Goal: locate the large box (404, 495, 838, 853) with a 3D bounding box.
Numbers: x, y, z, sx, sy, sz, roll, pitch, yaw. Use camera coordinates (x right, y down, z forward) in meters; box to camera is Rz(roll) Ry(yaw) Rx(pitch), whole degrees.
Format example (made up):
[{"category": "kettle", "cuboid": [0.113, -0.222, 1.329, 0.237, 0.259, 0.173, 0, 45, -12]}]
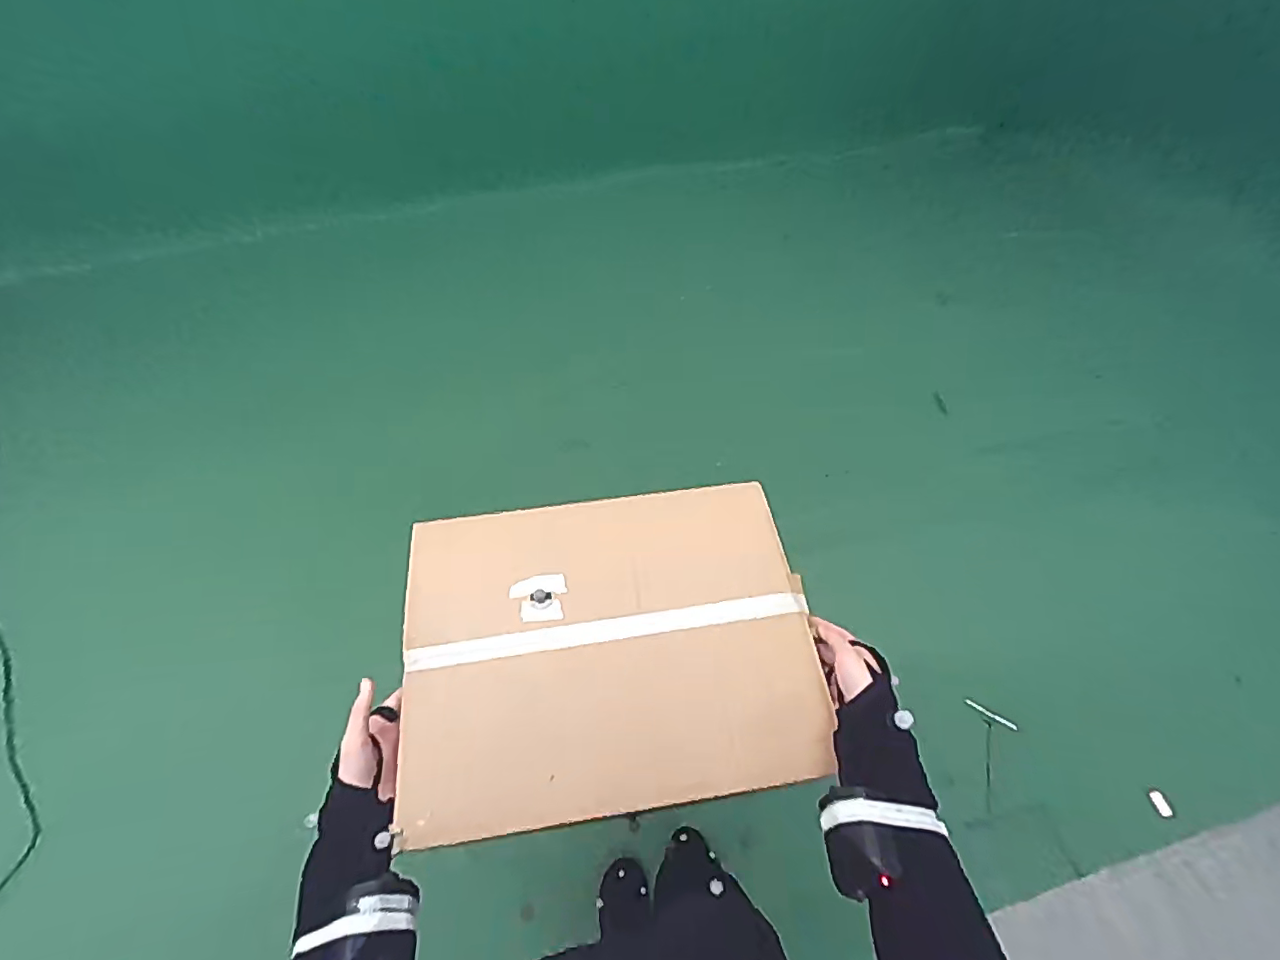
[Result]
[{"category": "large box", "cuboid": [-0.031, 0.248, 0.688, 0.408, 0.320, 0.320, -6, 57, -5]}]
